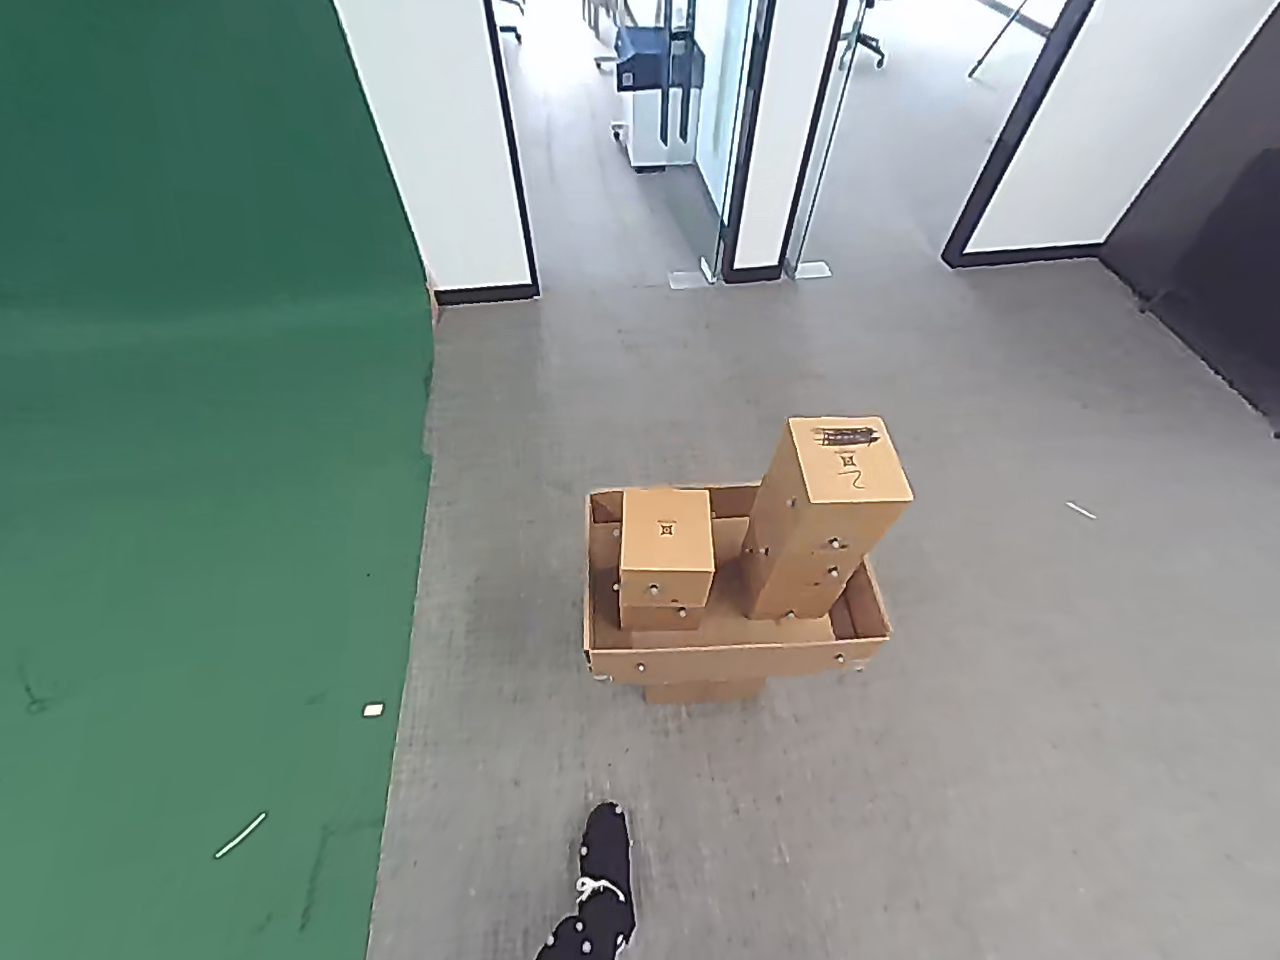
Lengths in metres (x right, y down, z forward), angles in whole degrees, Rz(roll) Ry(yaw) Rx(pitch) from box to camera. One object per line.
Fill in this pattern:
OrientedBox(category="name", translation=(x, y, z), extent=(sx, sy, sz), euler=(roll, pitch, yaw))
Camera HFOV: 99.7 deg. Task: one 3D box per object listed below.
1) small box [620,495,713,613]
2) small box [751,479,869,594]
OrientedBox(category="small box", translation=(0.049, 0.147, 1.049), extent=(0.168, 0.176, 0.179), euler=(1, 53, 0))
OrientedBox(category="small box", translation=(0.326, 0.117, 1.074), extent=(0.168, 0.176, 0.179), euler=(-1, 53, -3))
